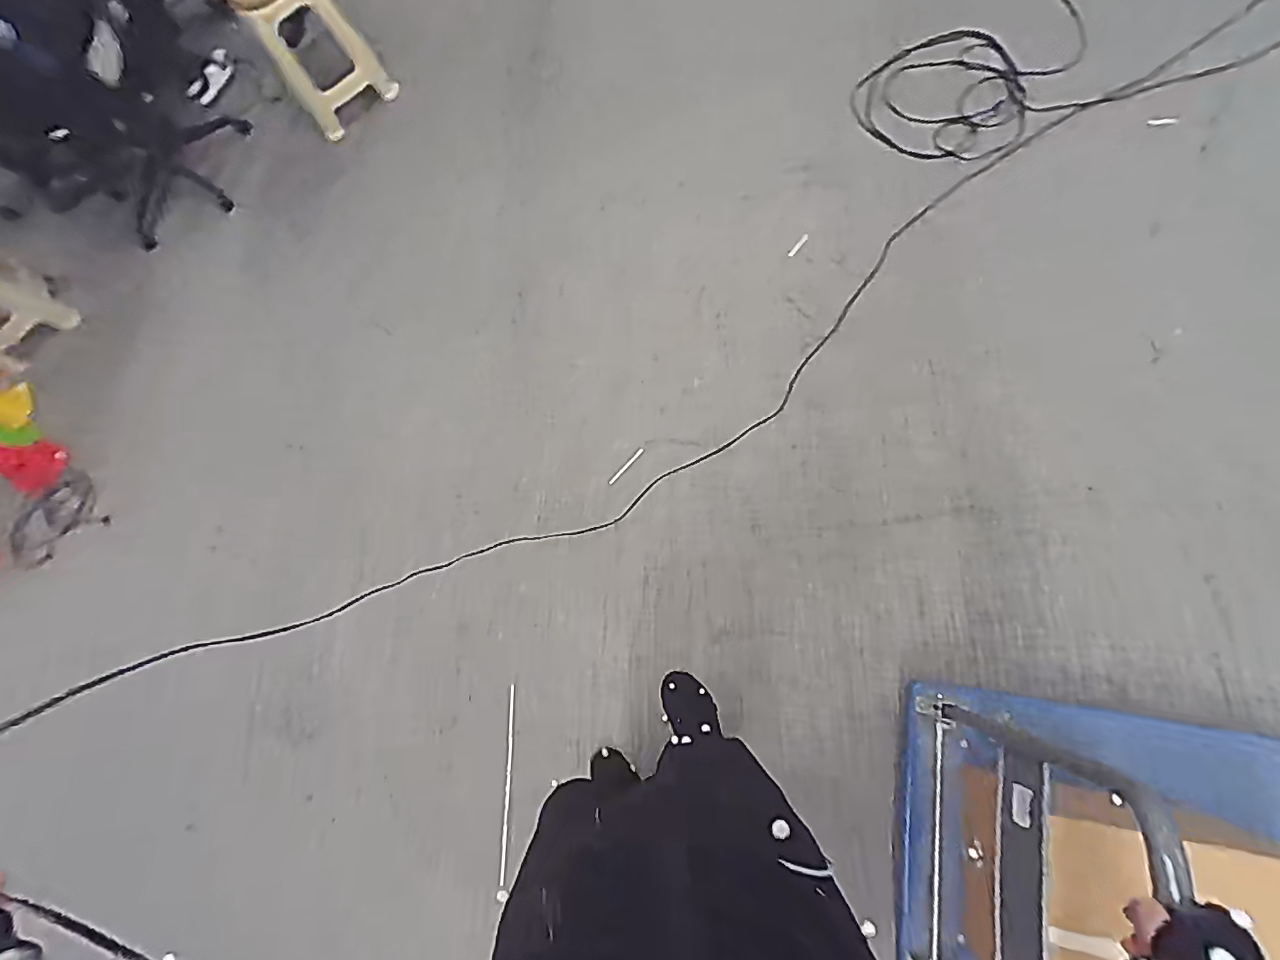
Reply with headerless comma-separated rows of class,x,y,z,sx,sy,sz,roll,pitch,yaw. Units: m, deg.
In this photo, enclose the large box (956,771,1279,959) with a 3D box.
large box,0.800,0.716,0.900,0.408,0.320,0.320,5,76,12
